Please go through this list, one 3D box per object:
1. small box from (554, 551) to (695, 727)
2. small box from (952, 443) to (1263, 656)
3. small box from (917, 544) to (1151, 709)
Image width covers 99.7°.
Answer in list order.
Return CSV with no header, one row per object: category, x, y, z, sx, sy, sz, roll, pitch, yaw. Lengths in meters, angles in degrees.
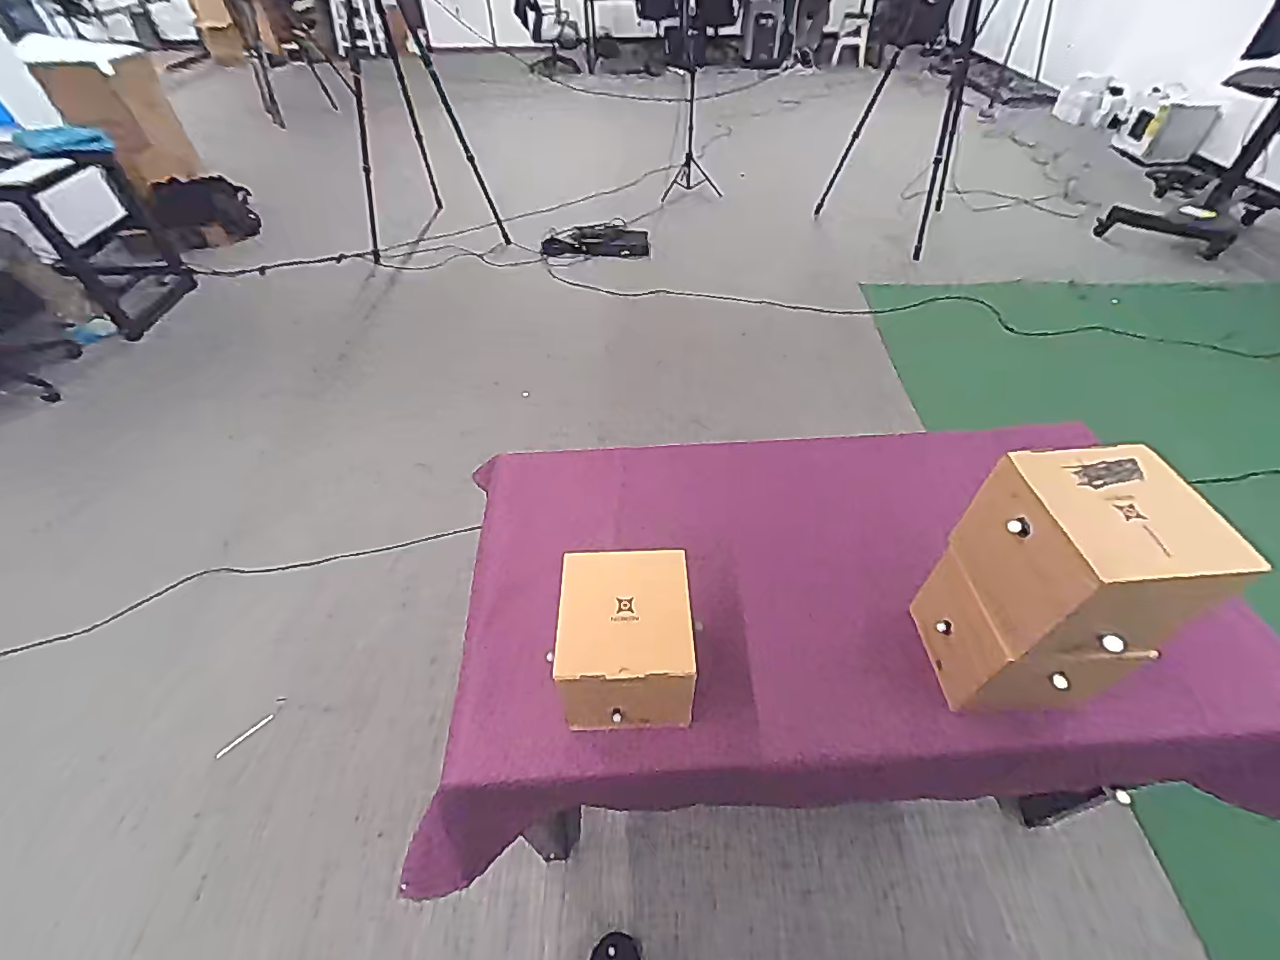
small box,-0.019,0.216,0.734,0.168,0.176,0.179,-2,47,0
small box,0.497,0.079,0.617,0.168,0.176,0.179,-4,47,-1
small box,0.502,0.198,0.731,0.179,0.176,0.168,-2,47,0
